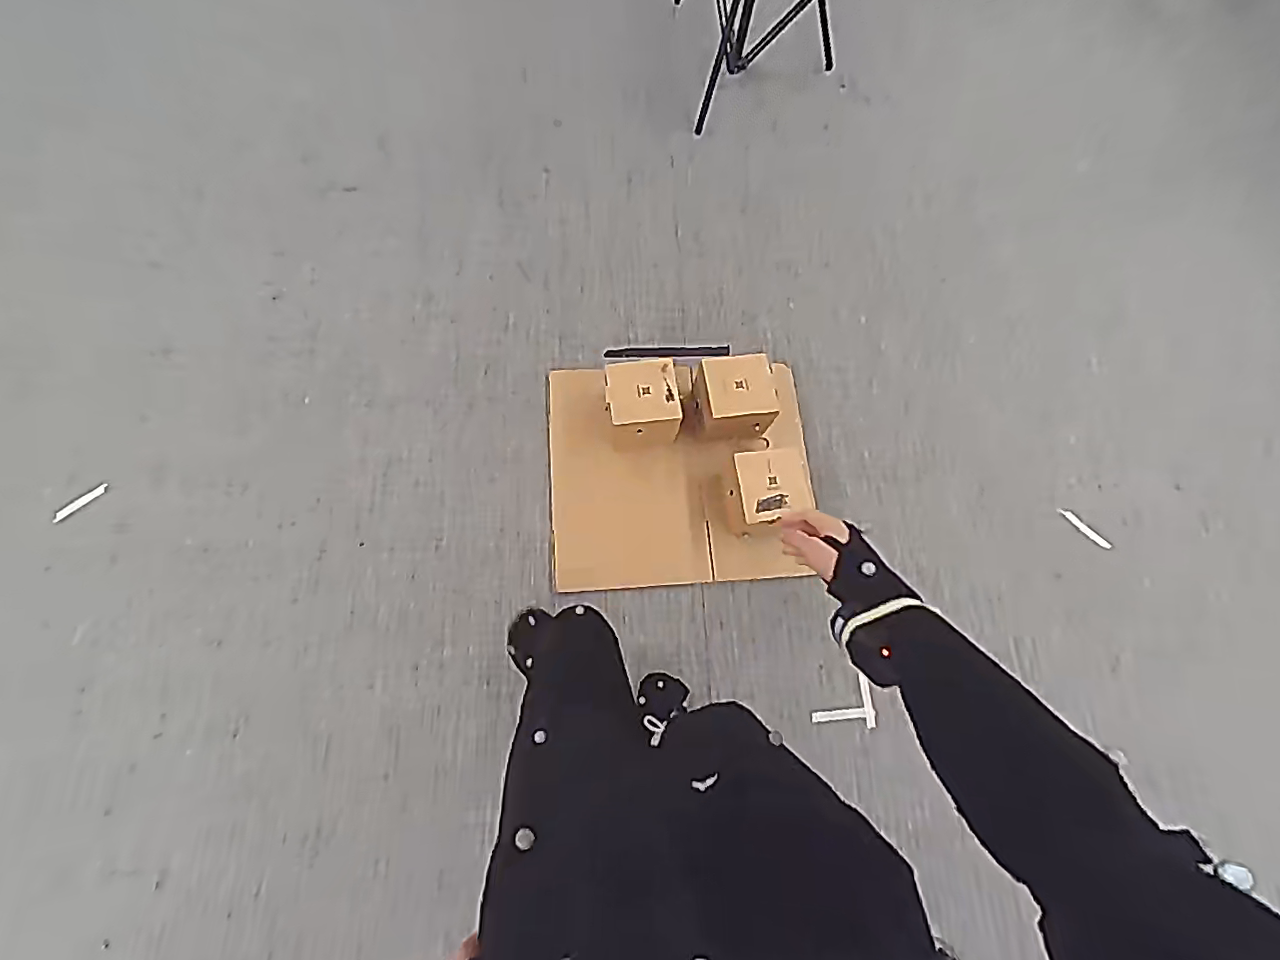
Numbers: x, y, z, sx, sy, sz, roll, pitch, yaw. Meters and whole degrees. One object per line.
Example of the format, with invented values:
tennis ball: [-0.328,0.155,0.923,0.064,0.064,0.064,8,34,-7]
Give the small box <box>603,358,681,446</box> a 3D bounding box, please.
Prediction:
small box: [0.003,-0.196,1.394,0.179,0.176,0.168,-7,75,-5]

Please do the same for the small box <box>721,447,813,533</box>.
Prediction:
small box: [0.309,0.031,1.352,0.168,0.176,0.179,-6,74,-6]
